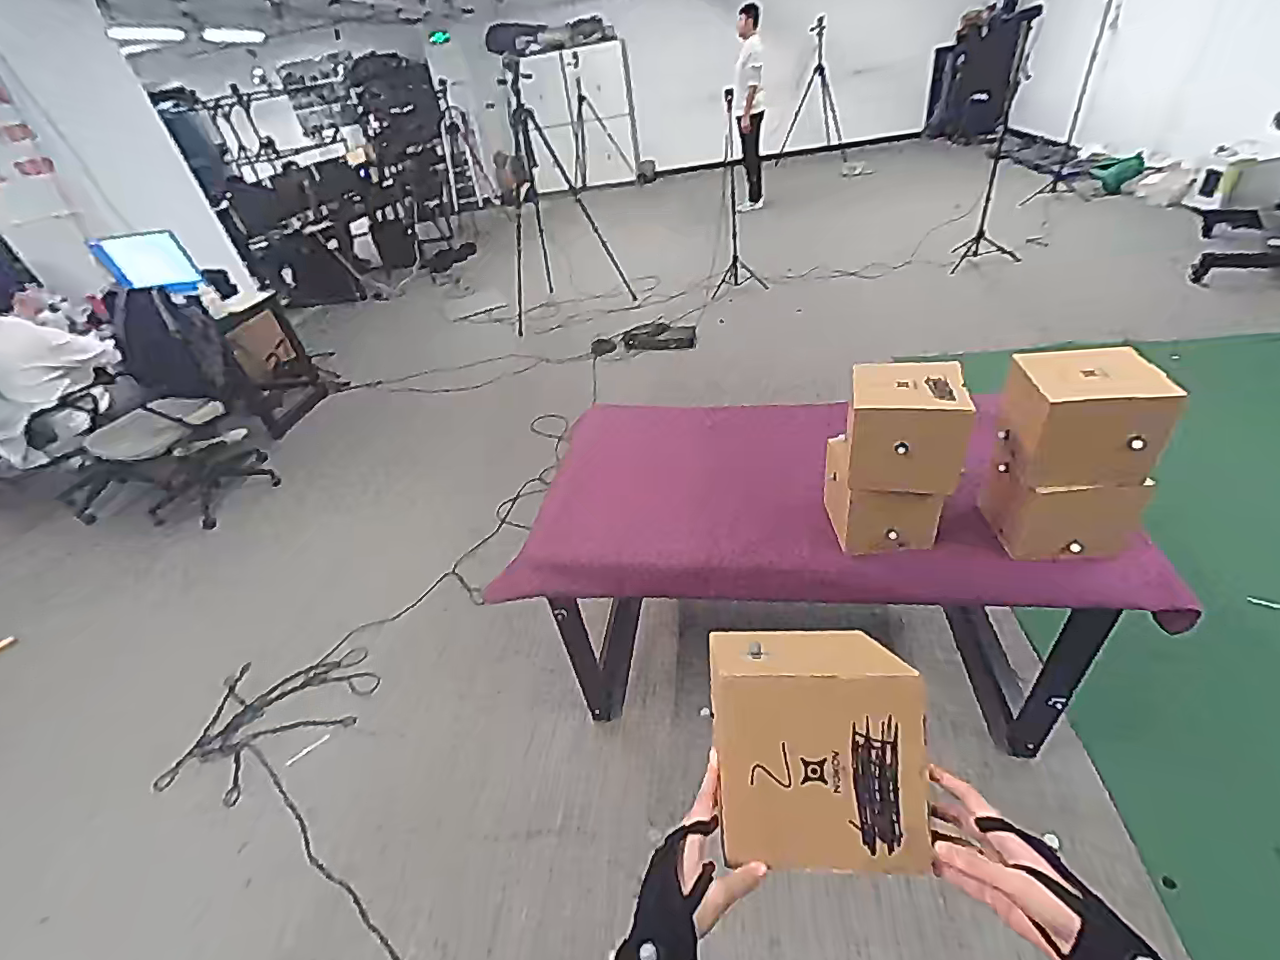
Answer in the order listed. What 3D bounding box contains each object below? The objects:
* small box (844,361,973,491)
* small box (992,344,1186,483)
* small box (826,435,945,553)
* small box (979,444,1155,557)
[{"bbox_3d":[0.457,-0.094,0.946,0.179,0.176,0.168,2,38,20],"label":"small box"},{"bbox_3d":[0.720,-0.107,0.894,0.179,0.176,0.168,-2,38,14],"label":"small box"},{"bbox_3d":[0.470,0.021,1.065,0.168,0.176,0.179,-6,37,7],"label":"small box"},{"bbox_3d":[0.757,0.025,0.984,0.179,0.176,0.168,-5,37,9],"label":"small box"}]
